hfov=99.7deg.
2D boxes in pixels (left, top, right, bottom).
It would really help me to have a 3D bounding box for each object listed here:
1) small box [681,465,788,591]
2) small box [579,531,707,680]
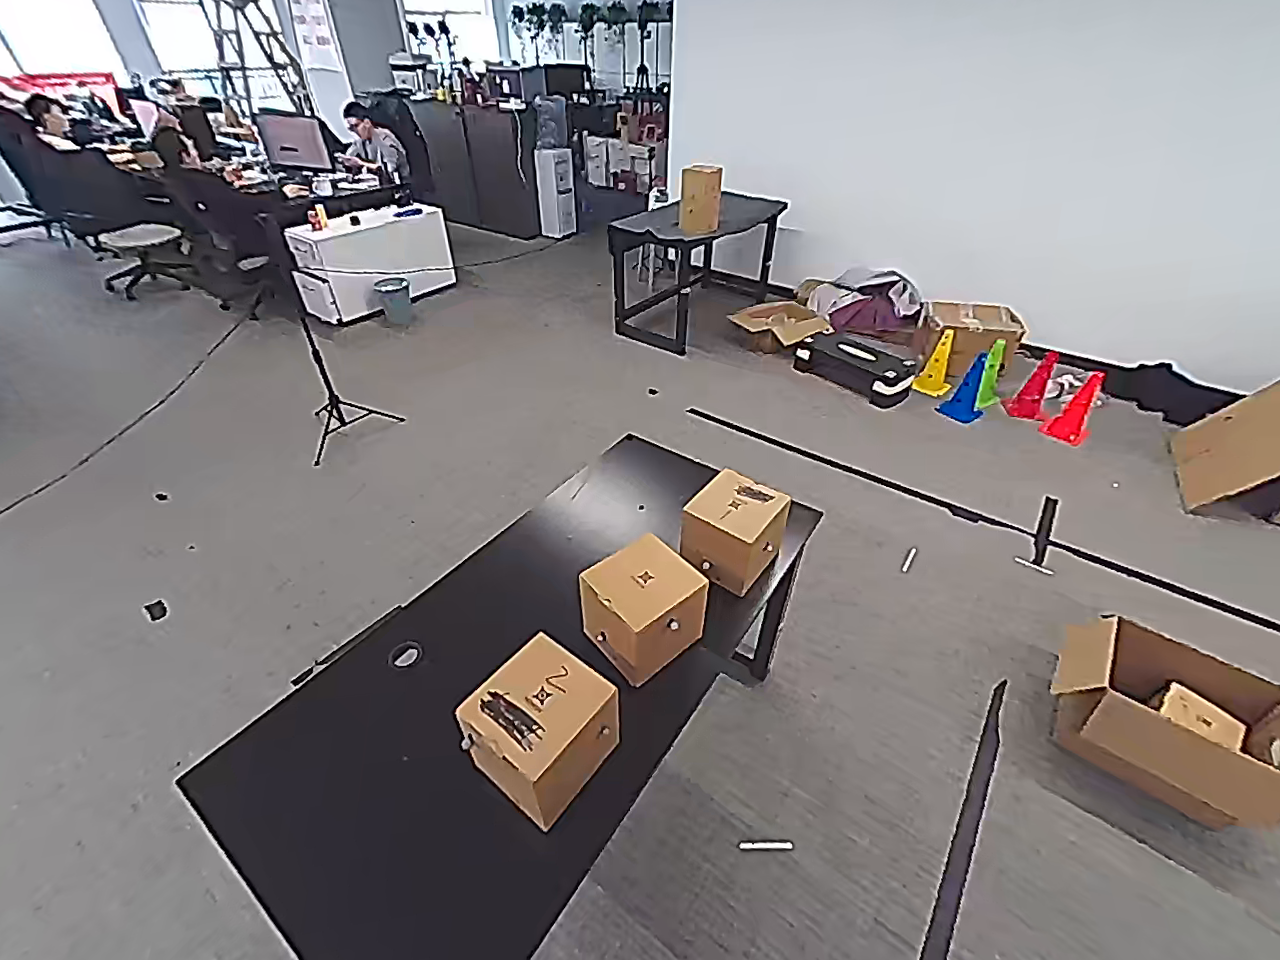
[{"bbox_3d":[0.198,0.103,1.174,0.168,0.176,0.179,26,47,29],"label":"small box"},{"bbox_3d":[0.004,0.235,1.020,0.179,0.176,0.168,-30,47,-30],"label":"small box"}]
